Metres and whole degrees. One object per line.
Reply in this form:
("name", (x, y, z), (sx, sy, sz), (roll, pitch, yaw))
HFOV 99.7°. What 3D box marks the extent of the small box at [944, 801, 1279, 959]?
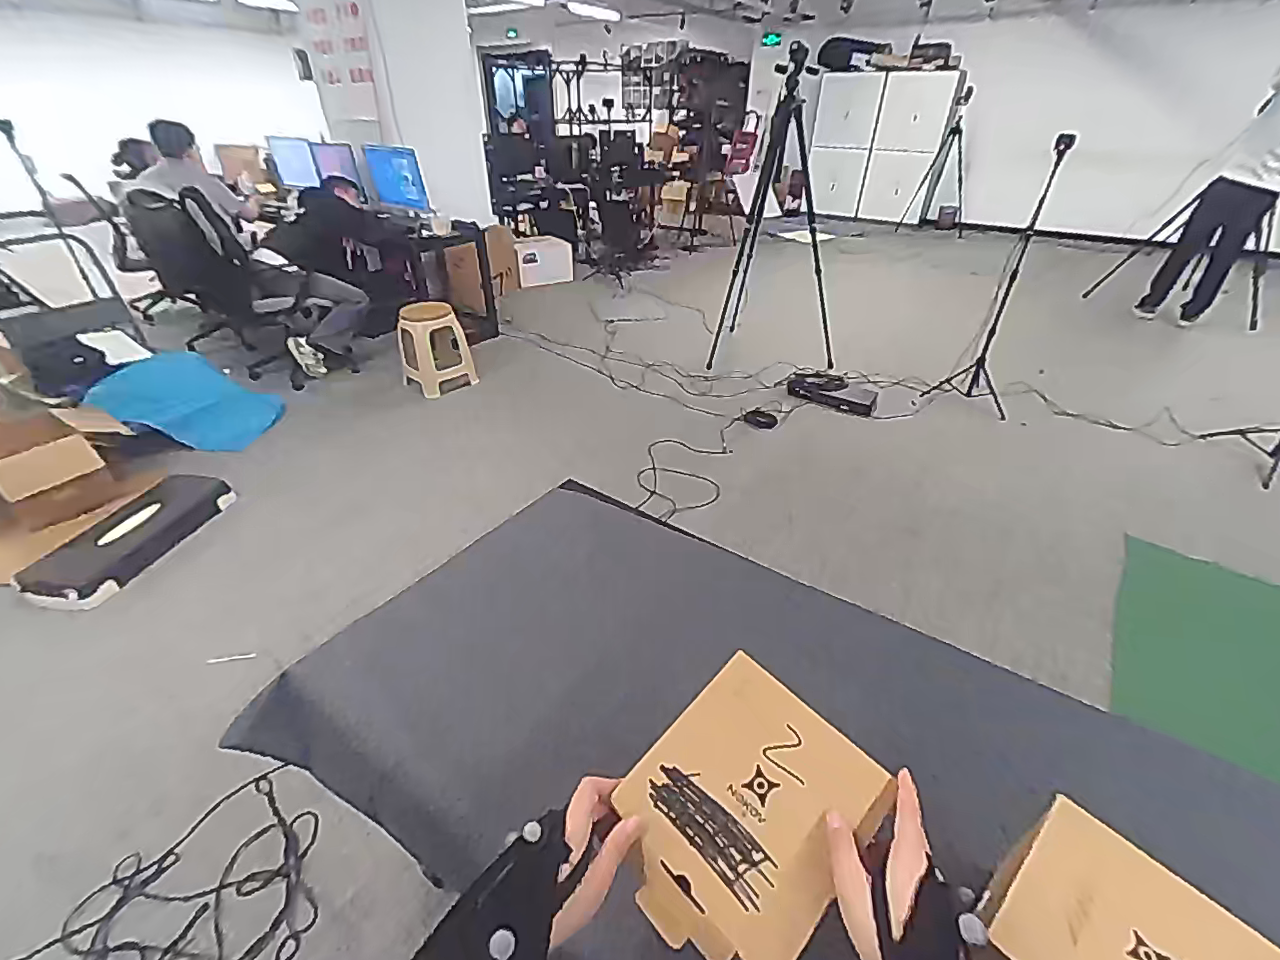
("small box", (0.376, 0.422, 0.440), (0.168, 0.176, 0.179), (-24, 40, -34))
